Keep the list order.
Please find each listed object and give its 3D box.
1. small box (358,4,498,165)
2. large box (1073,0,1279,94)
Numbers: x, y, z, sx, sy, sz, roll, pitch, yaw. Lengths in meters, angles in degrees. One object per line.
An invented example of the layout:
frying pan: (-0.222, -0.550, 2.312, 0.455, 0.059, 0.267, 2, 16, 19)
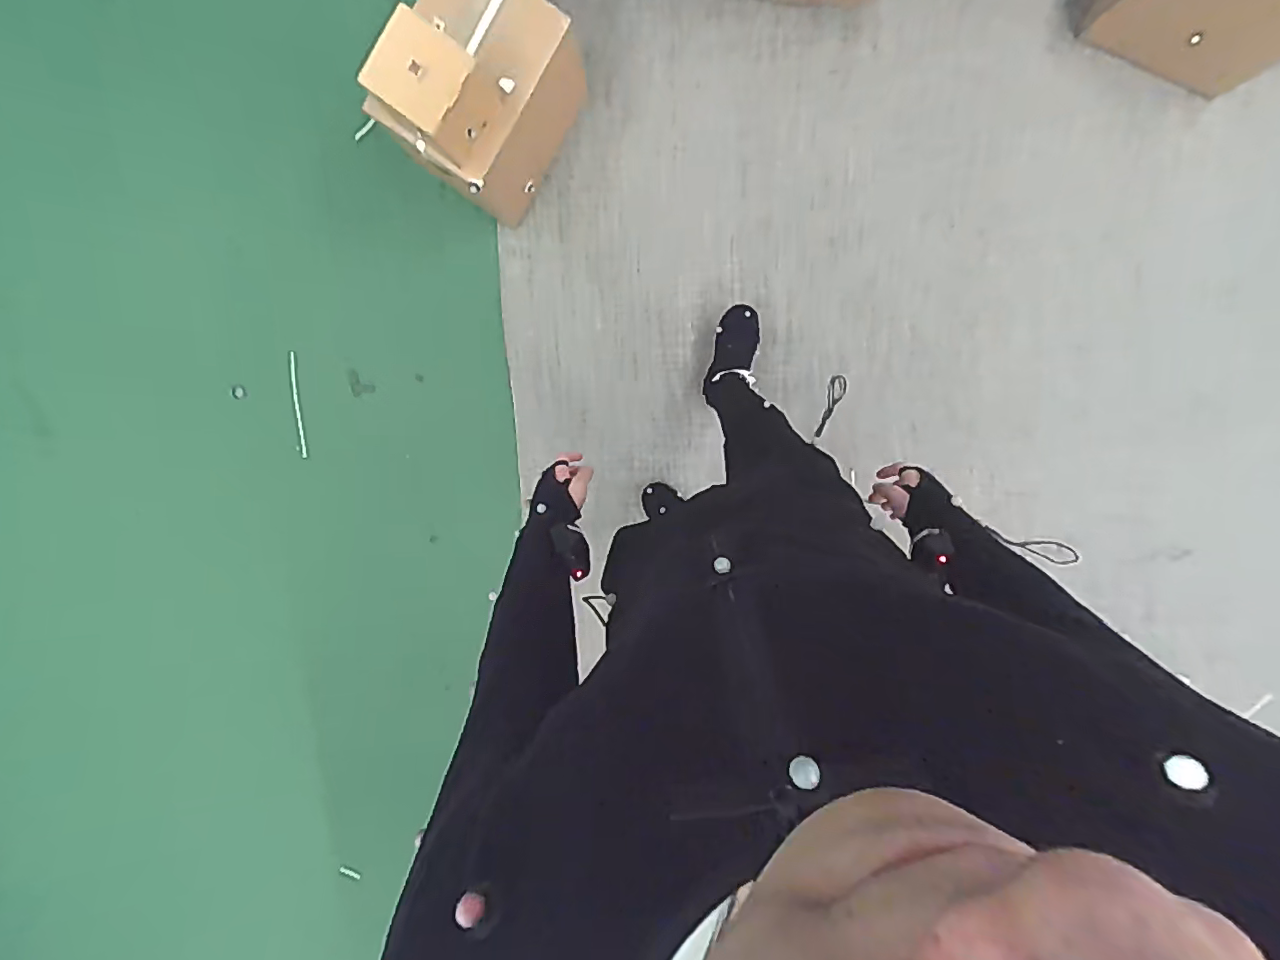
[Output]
small box: (-0.422, -0.788, 1.103, 0.179, 0.176, 0.168, 35, 97, -5)
large box: (1.340, -1.171, 1.221, 0.408, 0.320, 0.320, 21, 99, 0)
